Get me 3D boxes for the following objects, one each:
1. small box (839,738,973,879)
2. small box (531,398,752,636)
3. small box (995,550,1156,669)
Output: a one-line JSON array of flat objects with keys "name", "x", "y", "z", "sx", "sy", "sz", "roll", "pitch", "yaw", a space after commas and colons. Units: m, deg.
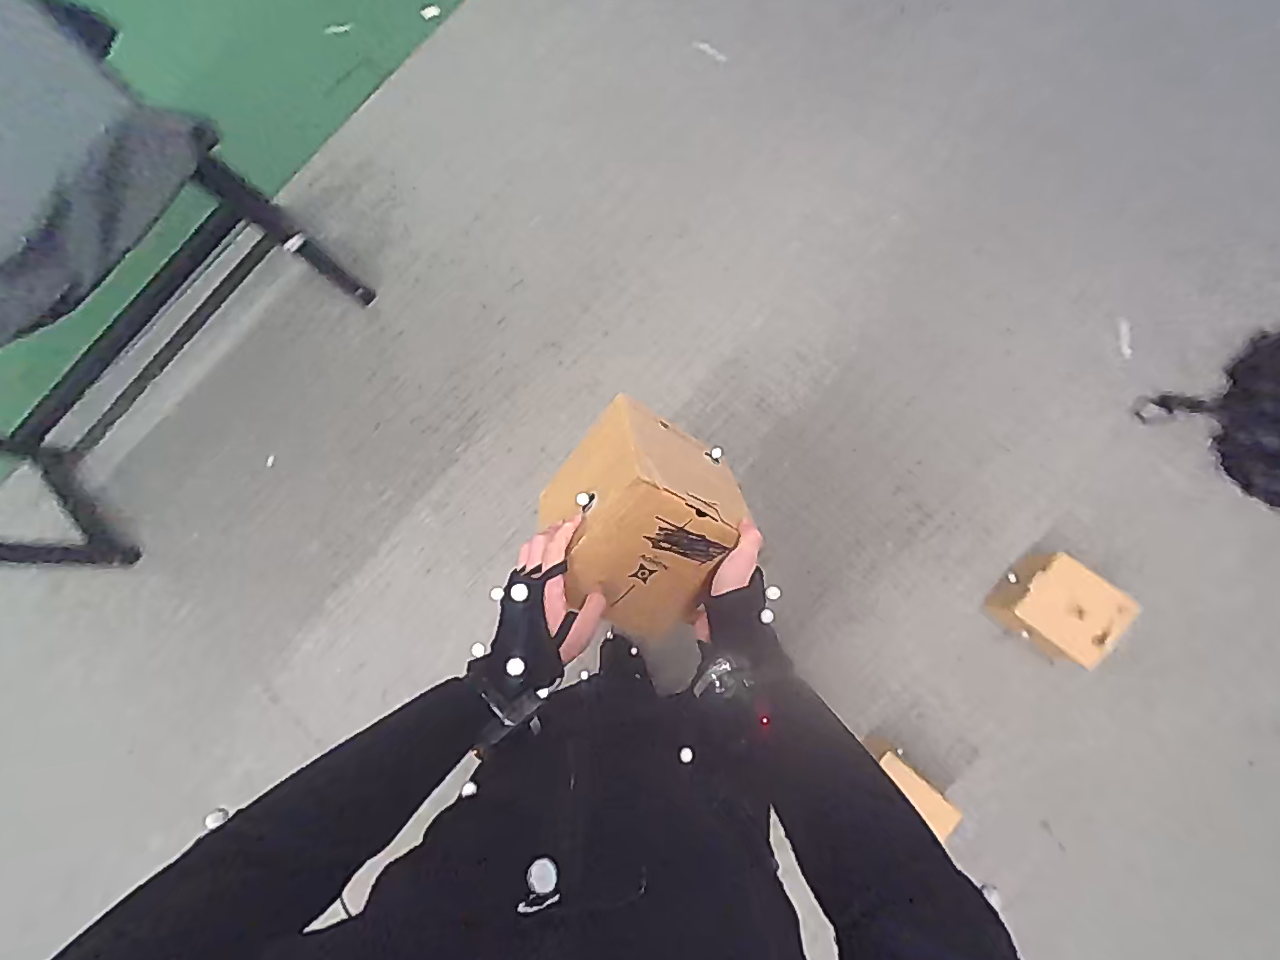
[{"name": "small box", "x": 0.551, "y": 0.680, "z": 1.151, "sx": 0.179, "sy": 0.176, "sz": 0.168, "roll": 38, "pitch": 90, "yaw": 15}, {"name": "small box", "x": -0.009, "y": 0.038, "z": 0.611, "sx": 0.168, "sy": 0.176, "sz": 0.179, "roll": 27, "pitch": 117, "yaw": -24}, {"name": "small box", "x": 0.907, "y": 0.271, "z": 1.150, "sx": 0.179, "sy": 0.176, "sz": 0.168, "roll": 40, "pitch": 90, "yaw": 17}]
